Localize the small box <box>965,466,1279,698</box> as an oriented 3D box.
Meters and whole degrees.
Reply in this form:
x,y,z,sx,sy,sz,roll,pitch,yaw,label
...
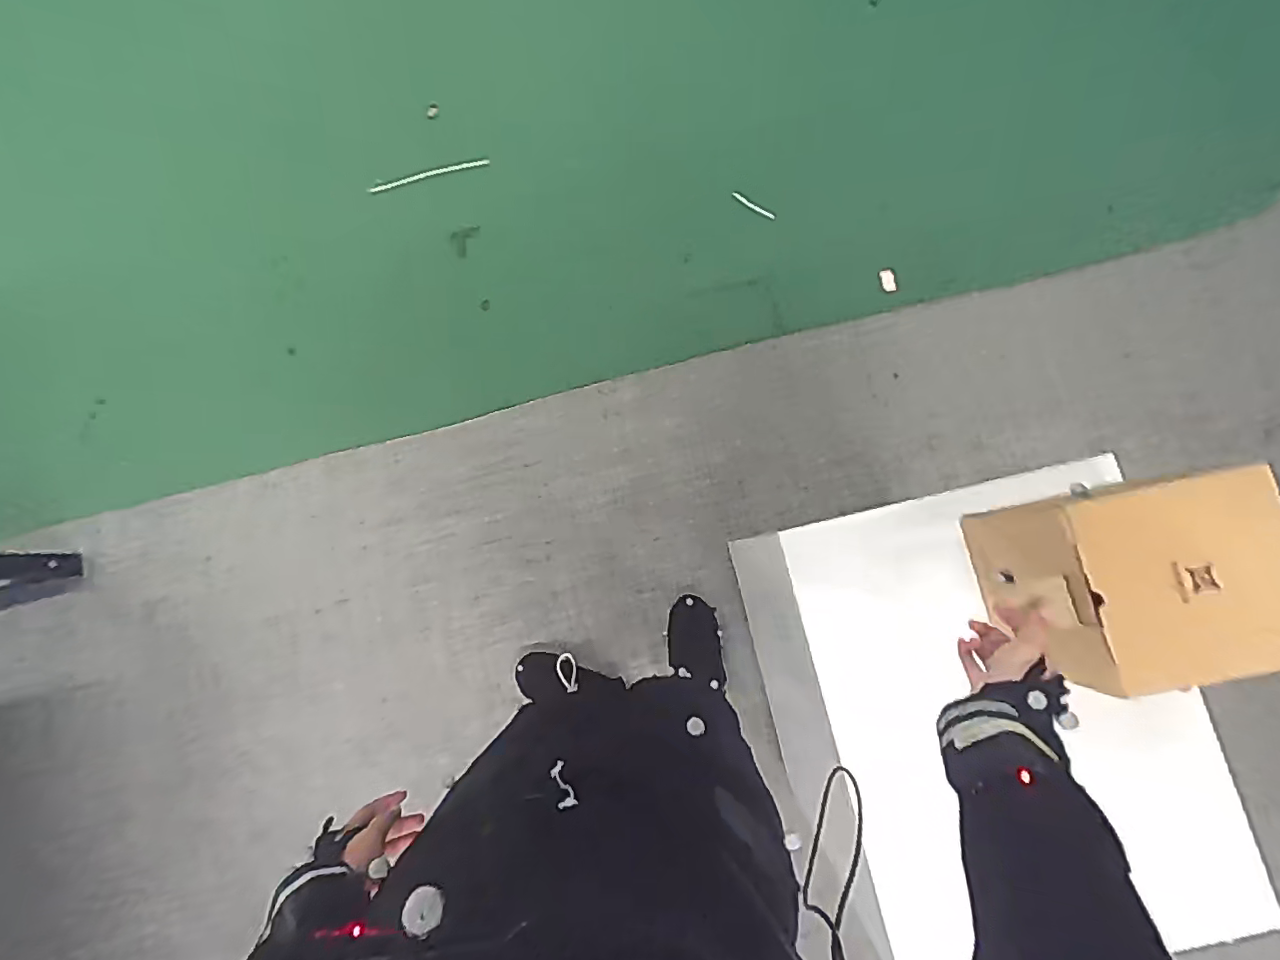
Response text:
x,y,z,sx,sy,sz,roll,pitch,yaw,label
0.466,0.091,0.530,0.179,0.176,0.168,-13,83,2,small box
